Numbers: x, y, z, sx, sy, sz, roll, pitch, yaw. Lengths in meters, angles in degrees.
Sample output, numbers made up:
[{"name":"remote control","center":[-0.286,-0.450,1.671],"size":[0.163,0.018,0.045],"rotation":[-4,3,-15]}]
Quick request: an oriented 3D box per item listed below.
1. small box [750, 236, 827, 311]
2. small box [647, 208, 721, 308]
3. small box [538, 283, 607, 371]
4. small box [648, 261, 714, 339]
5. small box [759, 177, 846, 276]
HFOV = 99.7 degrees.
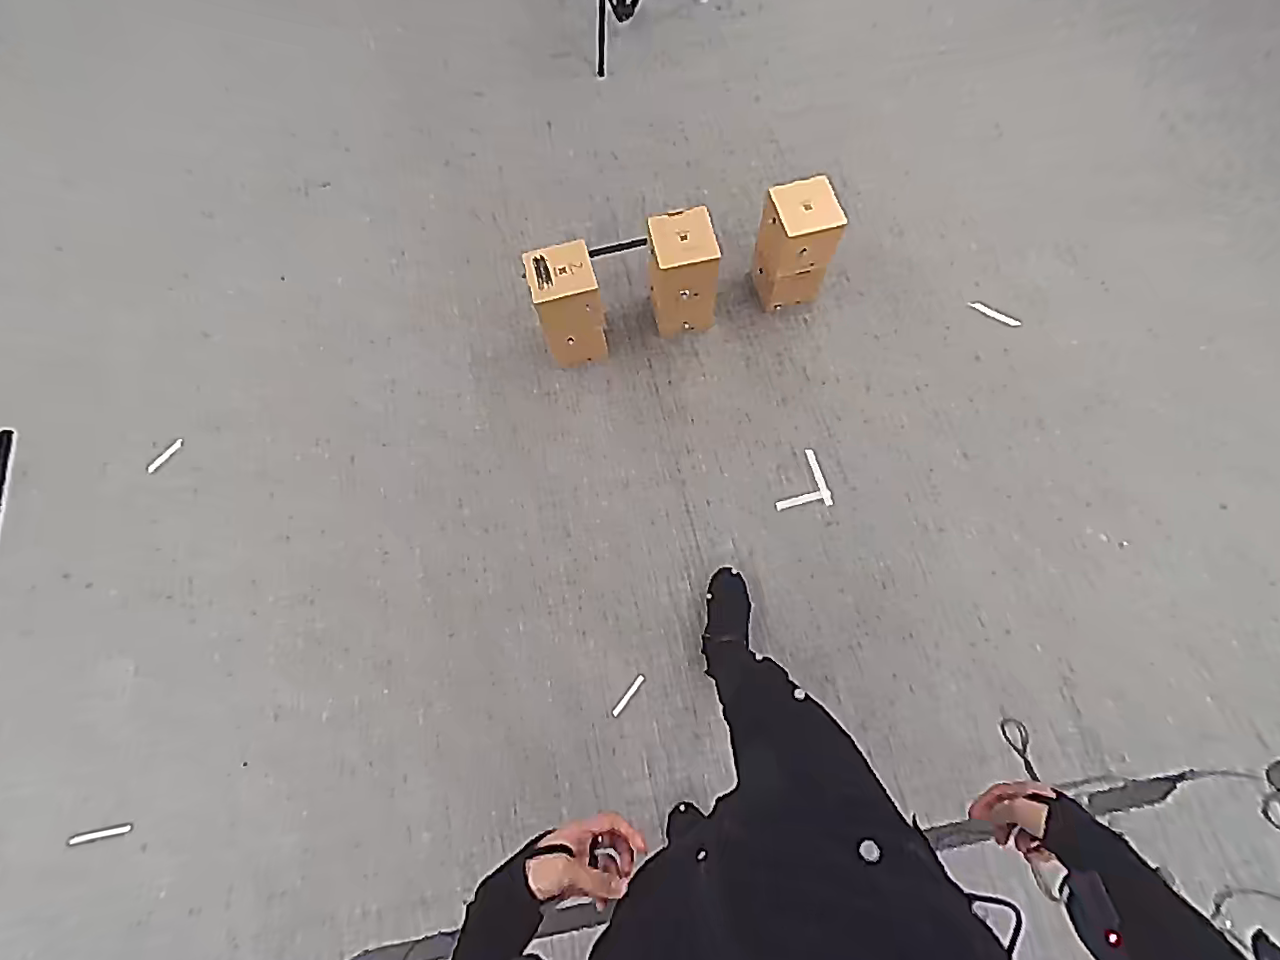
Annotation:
[{"name":"small box","center":[0.450,-0.644,1.664],"size":[0.168,0.176,0.179],"rotation":[-15,71,-3]},{"name":"small box","center":[0.116,-0.608,1.493],"size":[0.168,0.176,0.179],"rotation":[-12,71,-1]},{"name":"small box","center":[-0.201,-0.459,1.633],"size":[0.168,0.176,0.179],"rotation":[-13,71,-1]},{"name":"small box","center":[0.121,-0.561,1.650],"size":[0.168,0.176,0.179],"rotation":[-12,72,-1]},{"name":"small box","center":[0.447,-0.697,1.510],"size":[0.168,0.176,0.179],"rotation":[-14,71,-3]}]
